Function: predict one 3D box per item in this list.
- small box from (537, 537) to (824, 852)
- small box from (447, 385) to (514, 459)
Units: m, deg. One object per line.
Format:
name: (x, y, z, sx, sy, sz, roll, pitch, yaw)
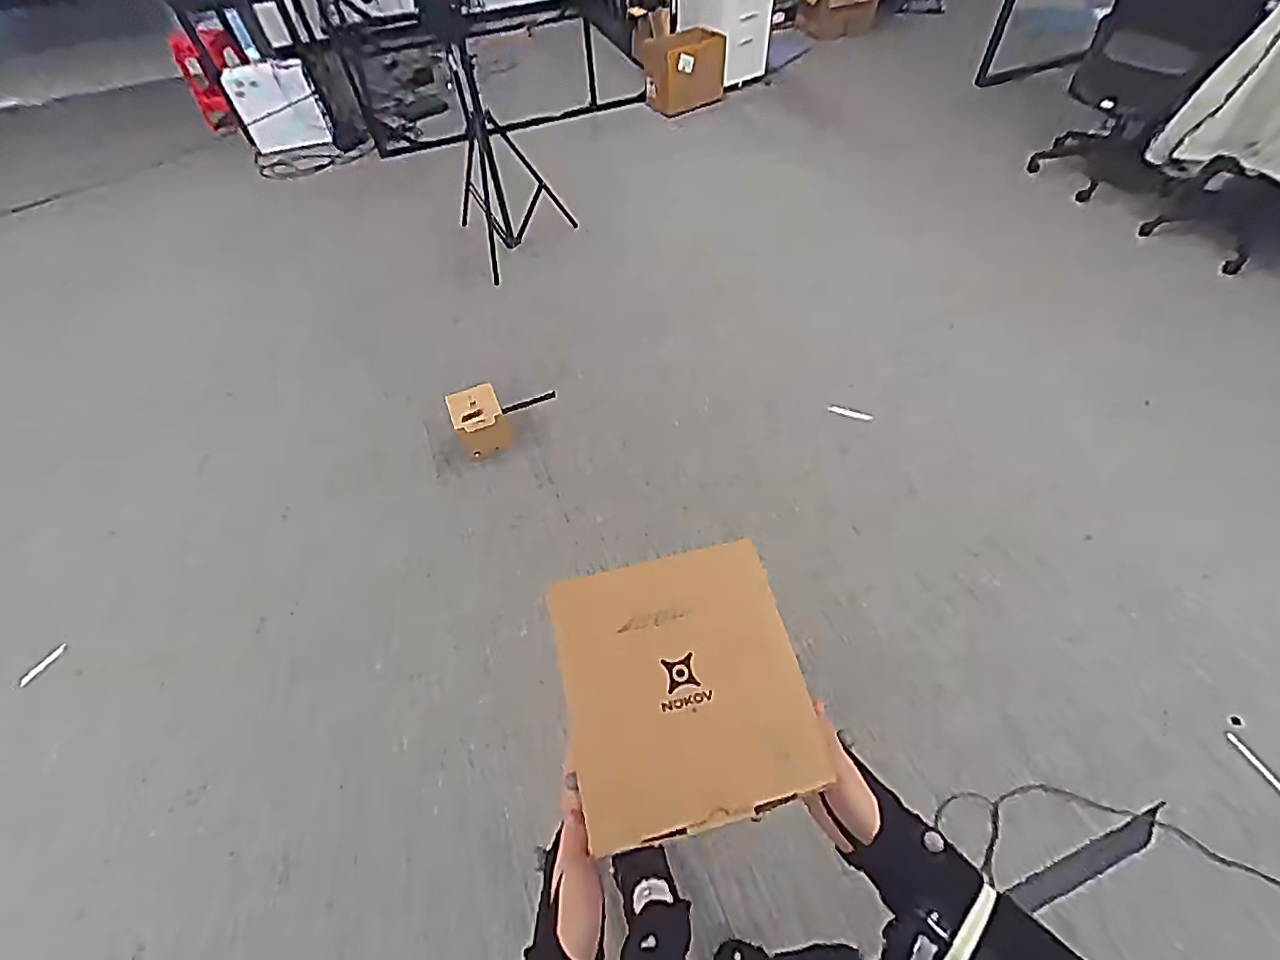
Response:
small box: (0.020, 0.171, 0.446, 0.168, 0.176, 0.179, -13, 63, -9)
small box: (-0.559, -0.196, 1.909, 0.168, 0.176, 0.179, -21, 55, -12)
